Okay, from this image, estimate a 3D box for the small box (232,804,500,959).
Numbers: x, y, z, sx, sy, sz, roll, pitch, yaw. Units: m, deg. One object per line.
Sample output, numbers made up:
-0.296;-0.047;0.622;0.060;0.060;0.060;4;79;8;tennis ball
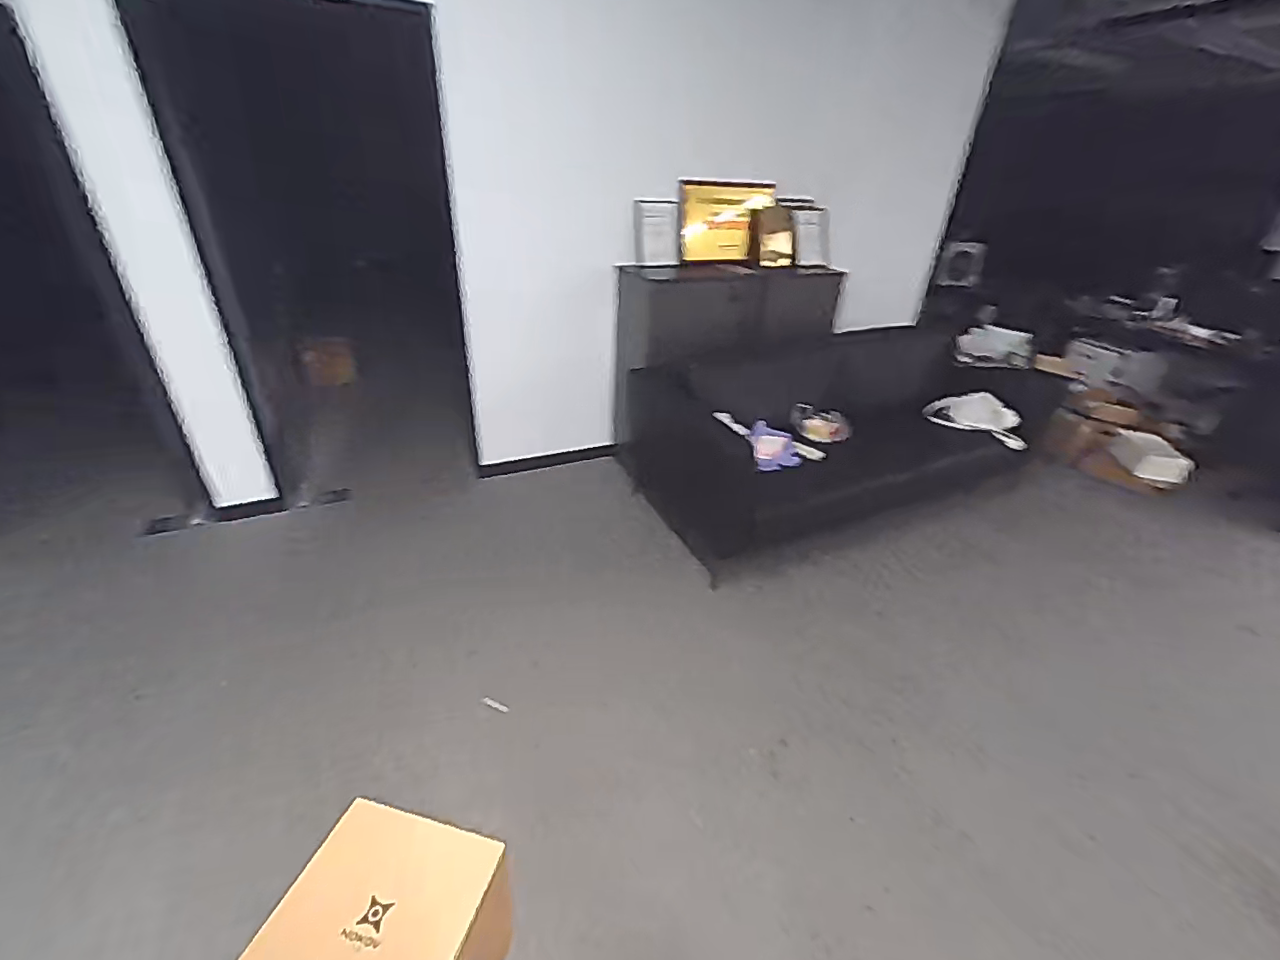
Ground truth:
-0.239;0.445;0.489;0.168;0.176;0.179;10;29;10;small box
